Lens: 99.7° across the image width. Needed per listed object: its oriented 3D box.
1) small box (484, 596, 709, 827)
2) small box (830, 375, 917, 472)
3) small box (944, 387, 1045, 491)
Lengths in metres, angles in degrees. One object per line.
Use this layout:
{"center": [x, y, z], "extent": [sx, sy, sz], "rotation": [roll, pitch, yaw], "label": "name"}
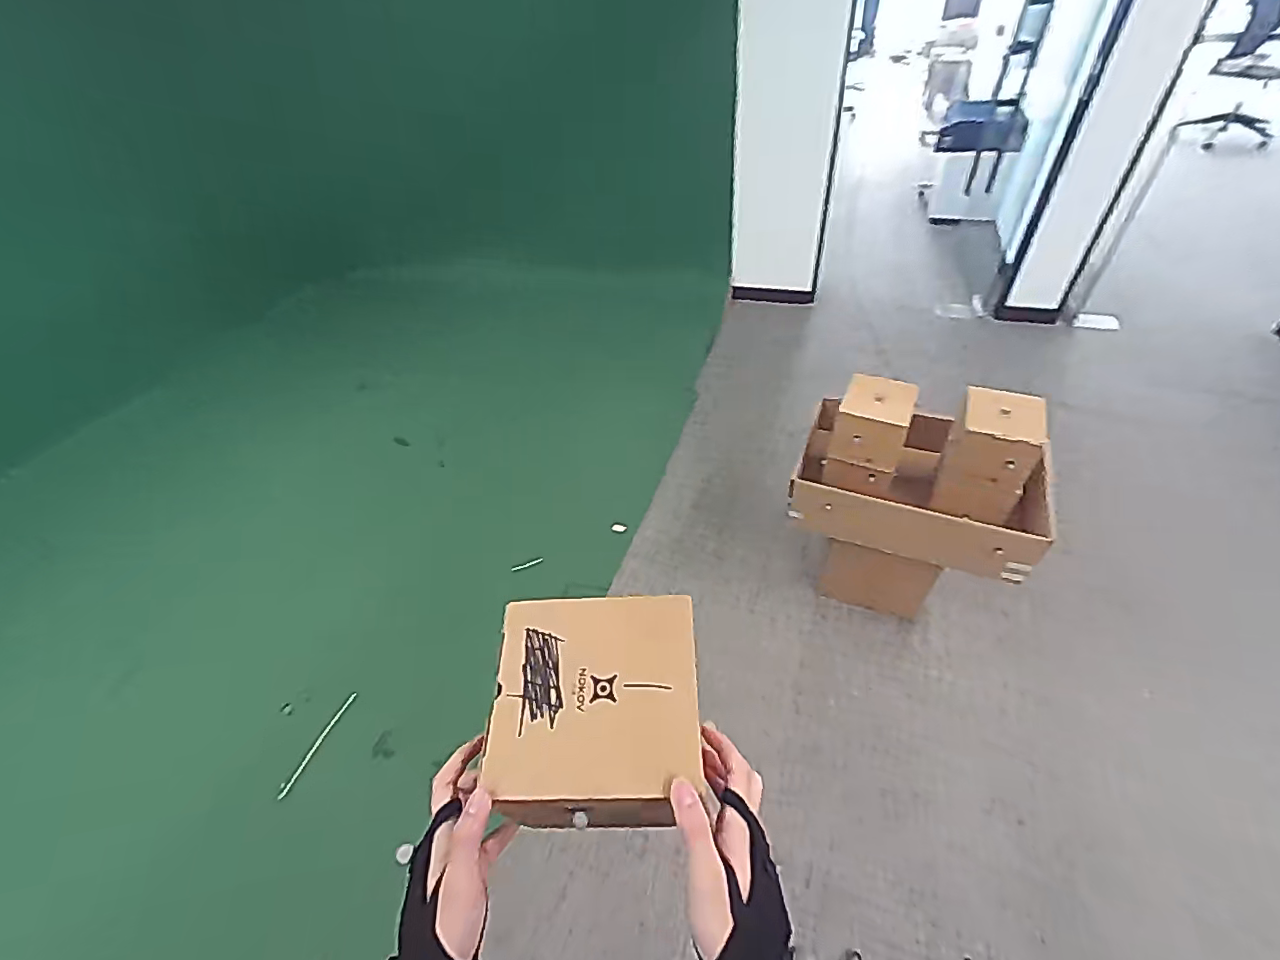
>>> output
{"center": [-0.026, 0.224, 0.517], "extent": [0.179, 0.176, 0.168], "rotation": [-1, 51, 4], "label": "small box"}
{"center": [0.607, -0.147, 1.420], "extent": [0.168, 0.176, 0.179], "rotation": [17, 51, 22], "label": "small box"}
{"center": [0.871, -0.100, 1.338], "extent": [0.168, 0.176, 0.179], "rotation": [16, 50, 20], "label": "small box"}
